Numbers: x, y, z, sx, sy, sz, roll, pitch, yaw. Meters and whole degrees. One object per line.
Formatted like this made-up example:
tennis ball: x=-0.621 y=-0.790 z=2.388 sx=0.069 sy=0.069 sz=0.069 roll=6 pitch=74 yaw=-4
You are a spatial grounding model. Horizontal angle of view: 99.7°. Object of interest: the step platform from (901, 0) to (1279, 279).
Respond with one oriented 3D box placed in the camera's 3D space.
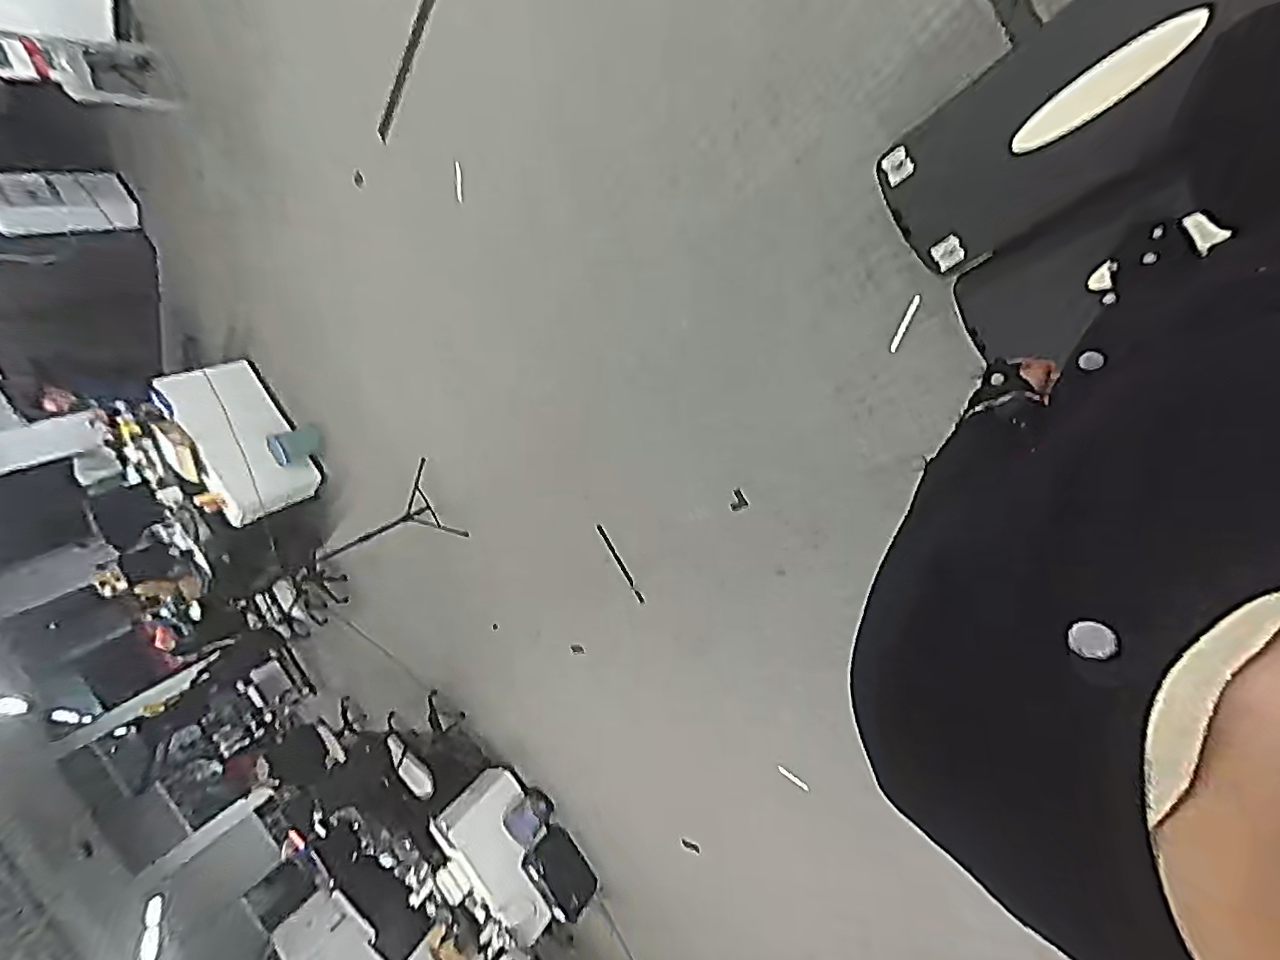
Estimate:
step platform: x=0.816 y=-0.626 z=0.898 sx=0.684 sy=0.204 sz=0.286 roll=-22 pitch=96 yaw=44
